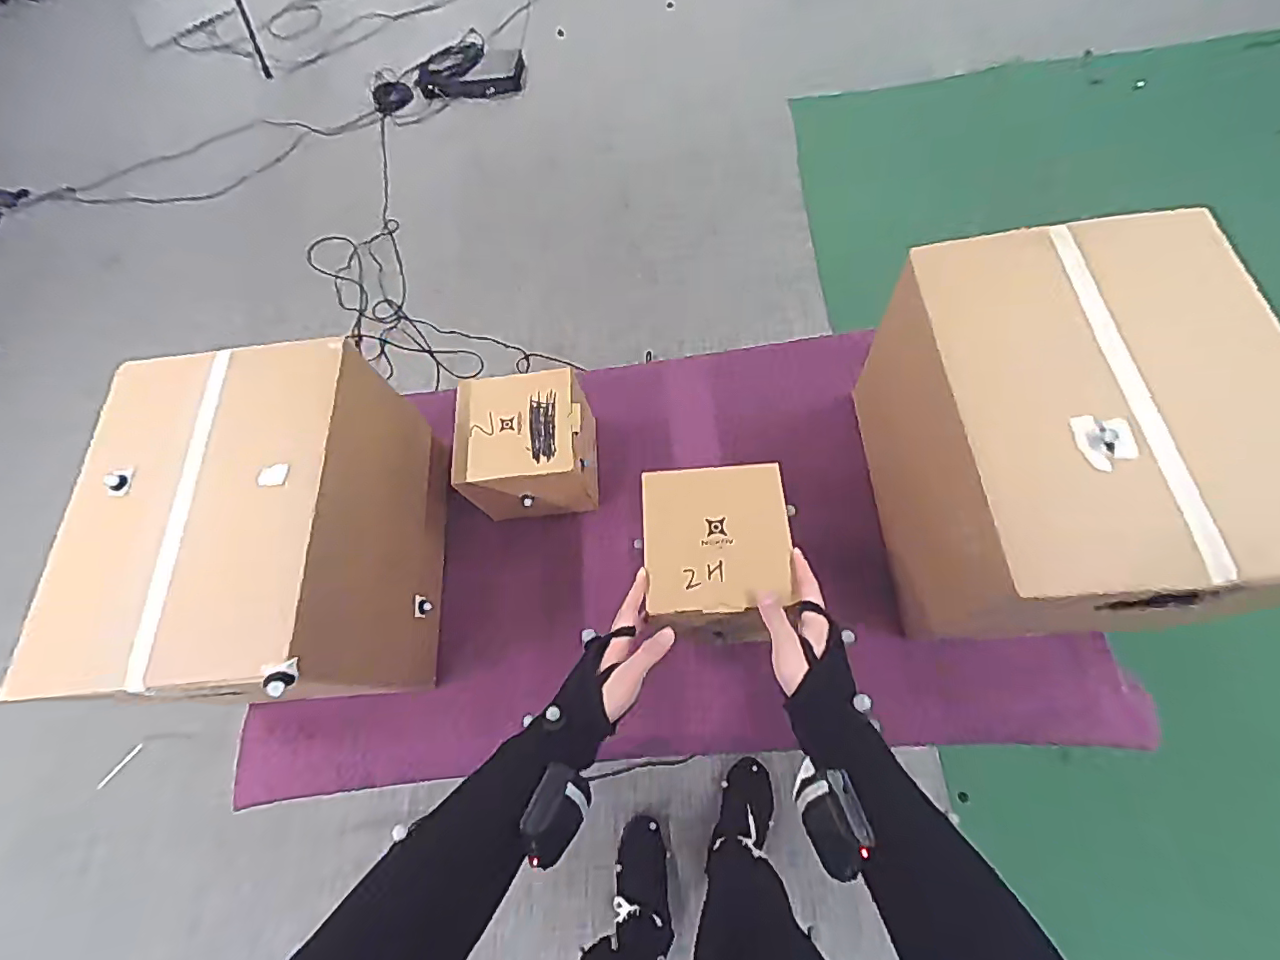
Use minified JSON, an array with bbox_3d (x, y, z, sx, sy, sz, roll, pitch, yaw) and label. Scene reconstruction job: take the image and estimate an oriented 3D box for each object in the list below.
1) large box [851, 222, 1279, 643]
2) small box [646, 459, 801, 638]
[{"bbox_3d":[0.486,-0.031,0.660,0.320,0.320,0.408,-6,67,7],"label":"large box"},{"bbox_3d":[0.094,0.092,0.680,0.168,0.176,0.179,-4,62,5],"label":"small box"}]
